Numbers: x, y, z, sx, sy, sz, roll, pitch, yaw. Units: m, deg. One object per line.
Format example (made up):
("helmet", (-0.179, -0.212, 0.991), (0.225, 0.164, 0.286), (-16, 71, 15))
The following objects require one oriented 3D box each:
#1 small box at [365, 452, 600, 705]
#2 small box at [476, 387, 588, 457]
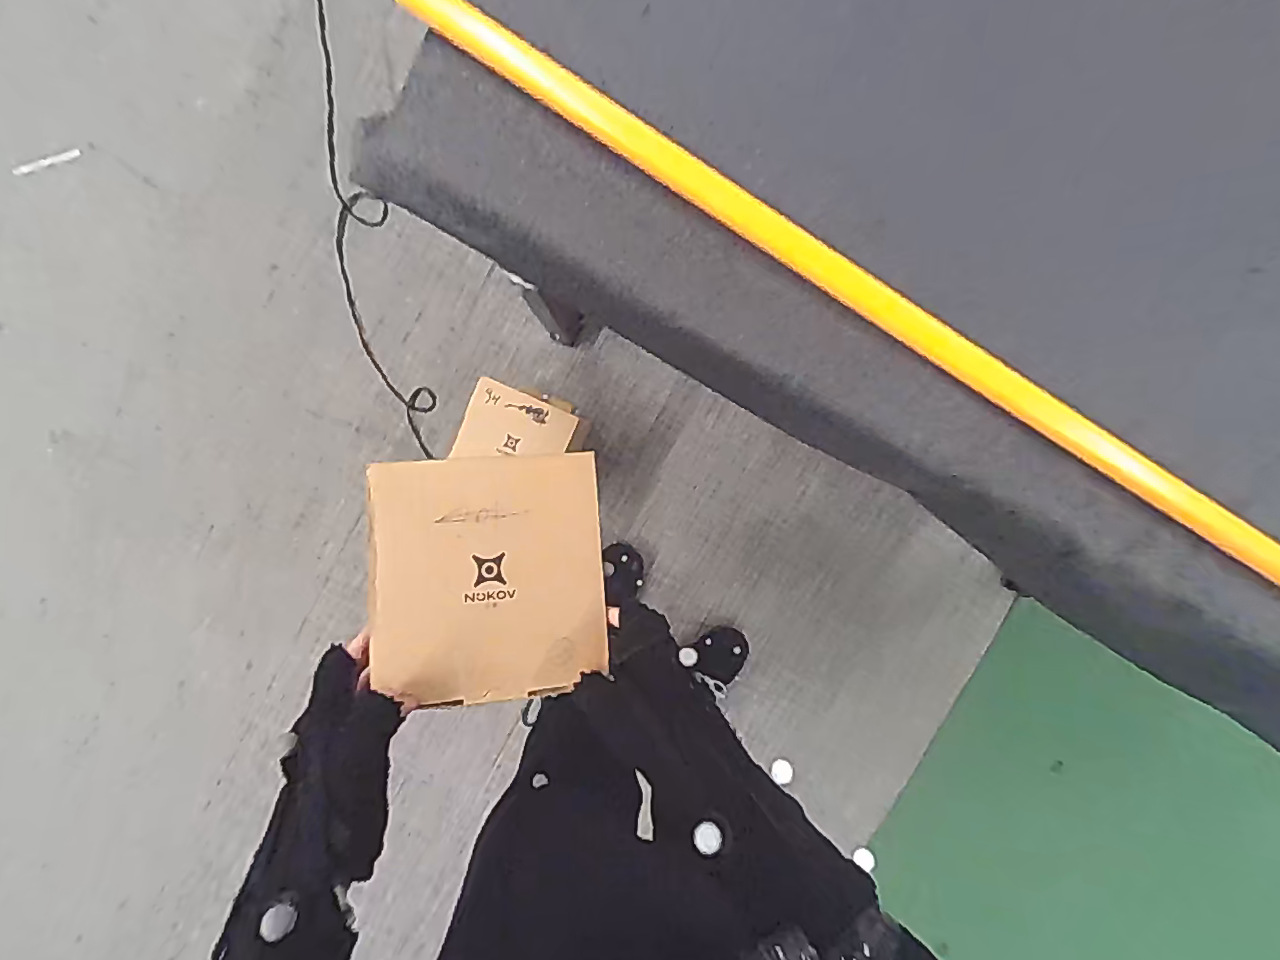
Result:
("small box", (-0.130, 0.079, 0.479), (0.168, 0.176, 0.179), (-4, 82, -12))
("small box", (-0.208, -0.067, 1.074), (0.168, 0.176, 0.179), (22, 93, -2))
